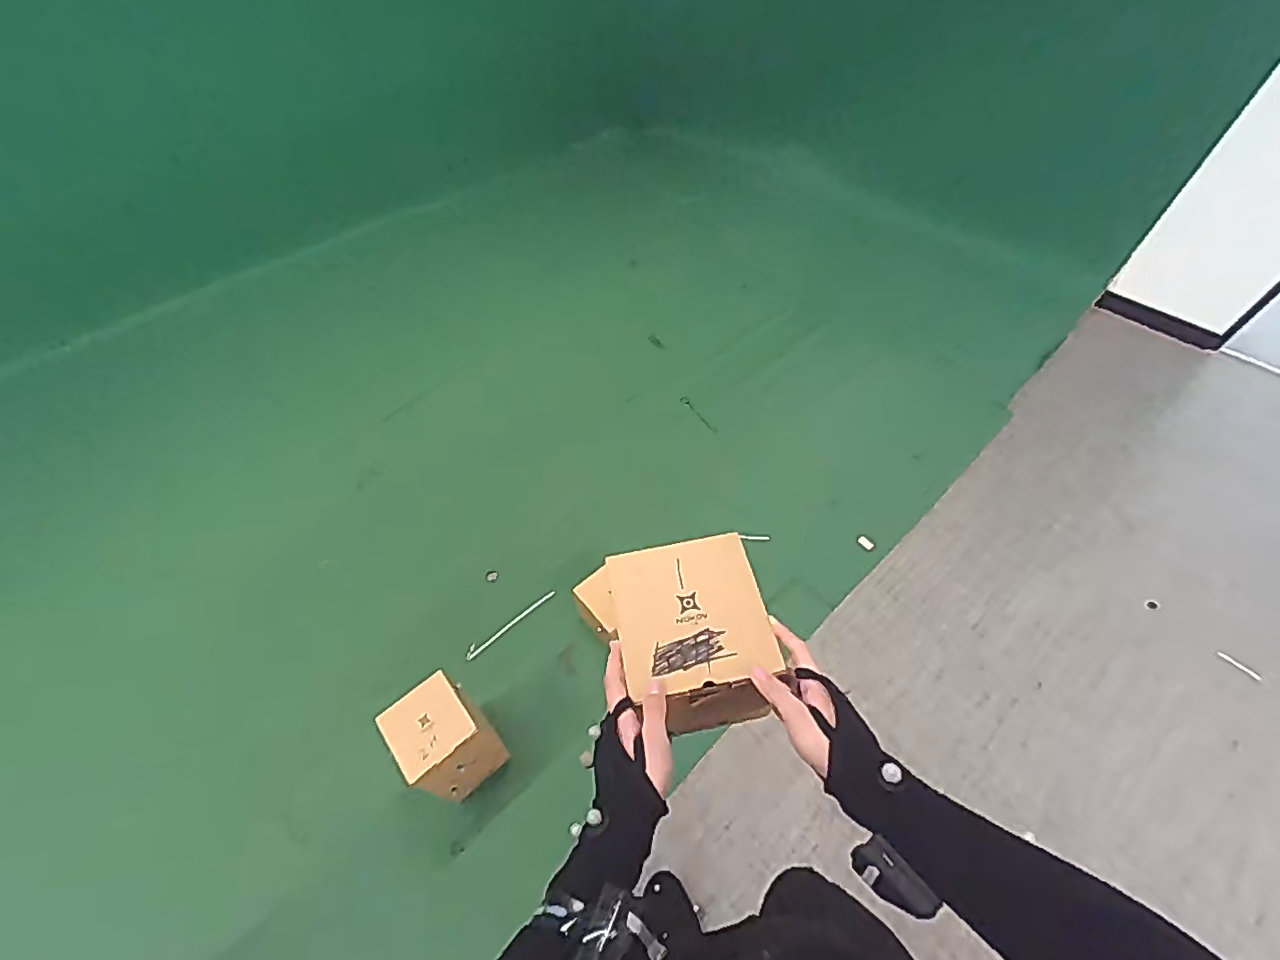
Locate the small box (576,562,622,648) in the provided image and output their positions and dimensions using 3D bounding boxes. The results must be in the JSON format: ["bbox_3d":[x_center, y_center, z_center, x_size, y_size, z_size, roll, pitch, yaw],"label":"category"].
[{"bbox_3d":[-0.067,0.362,1.593,0.168,0.176,0.179,-36,61,-22],"label":"small box"}]

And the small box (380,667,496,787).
[{"bbox_3d":[-0.459,0.573,1.245,0.168,0.176,0.179,-35,60,-21],"label":"small box"}]

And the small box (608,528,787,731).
[{"bbox_3d":[0.062,0.187,0.654,0.168,0.176,0.179,-11,51,-4],"label":"small box"}]
